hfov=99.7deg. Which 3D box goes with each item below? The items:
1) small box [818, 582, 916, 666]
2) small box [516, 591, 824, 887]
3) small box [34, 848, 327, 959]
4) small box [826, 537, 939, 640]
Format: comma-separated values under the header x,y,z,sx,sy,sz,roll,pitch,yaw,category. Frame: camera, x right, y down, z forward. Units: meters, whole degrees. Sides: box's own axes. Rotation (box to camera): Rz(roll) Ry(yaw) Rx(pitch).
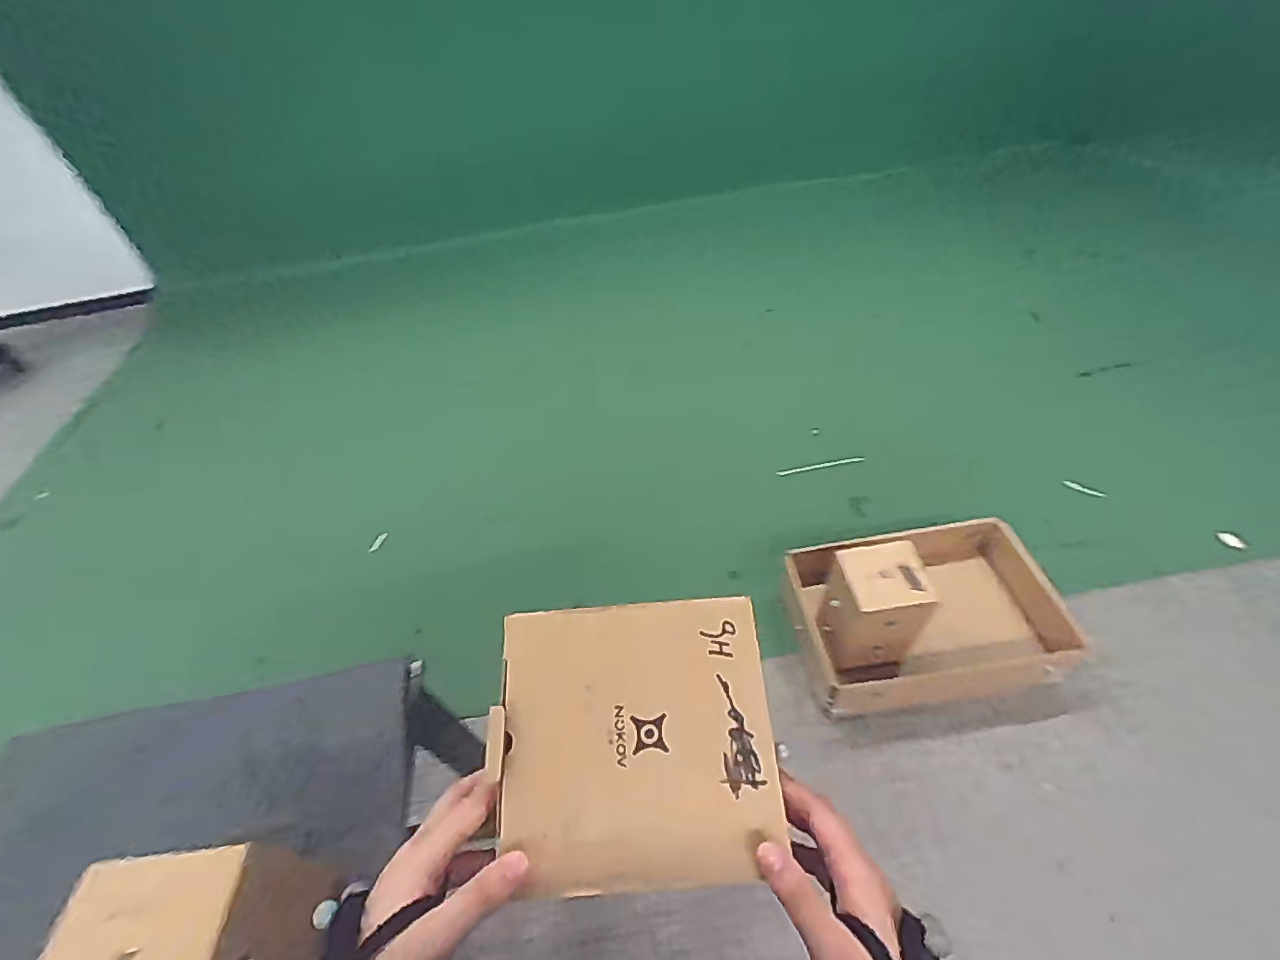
x,y,z,sx,sy,sz,roll,pitch,yaw,category
0.574,0.364,1.398,0.179,0.176,0.168,-9,49,-2,small box
0.017,0.188,0.408,0.179,0.176,0.168,-3,64,0,small box
-0.439,0.478,0.519,0.168,0.176,0.179,-8,47,1,small box
0.559,0.259,1.273,0.179,0.176,0.168,-9,48,0,small box
